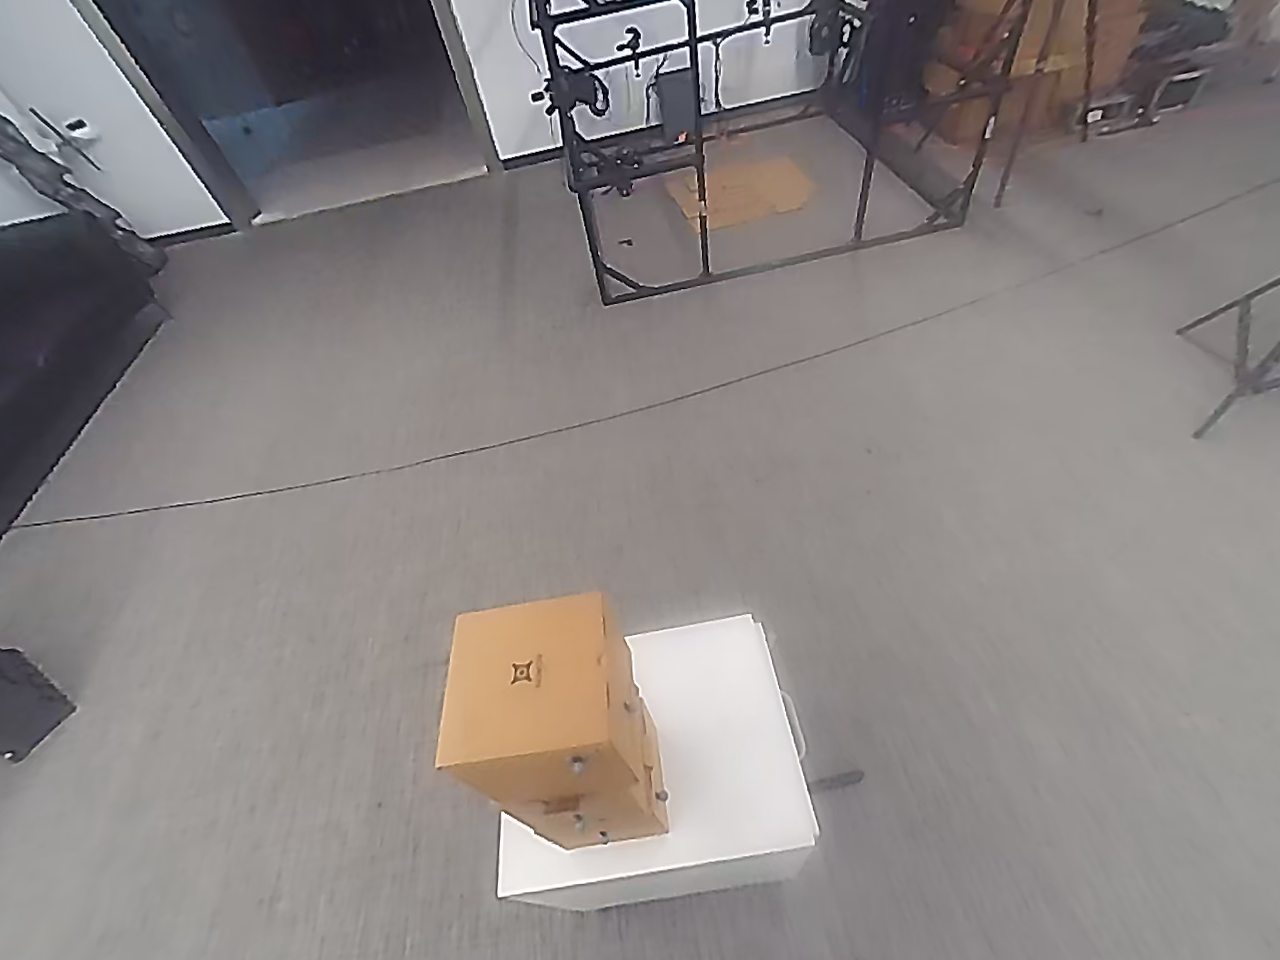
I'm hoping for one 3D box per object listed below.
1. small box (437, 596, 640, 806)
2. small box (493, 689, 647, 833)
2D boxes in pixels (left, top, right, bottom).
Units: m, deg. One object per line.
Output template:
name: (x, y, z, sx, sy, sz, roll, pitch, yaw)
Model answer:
small box: (-0.104, 0.259, 0.624, 0.179, 0.176, 0.168, -10, 48, 2)
small box: (-0.088, 0.365, 0.747, 0.168, 0.176, 0.179, -10, 48, 4)
